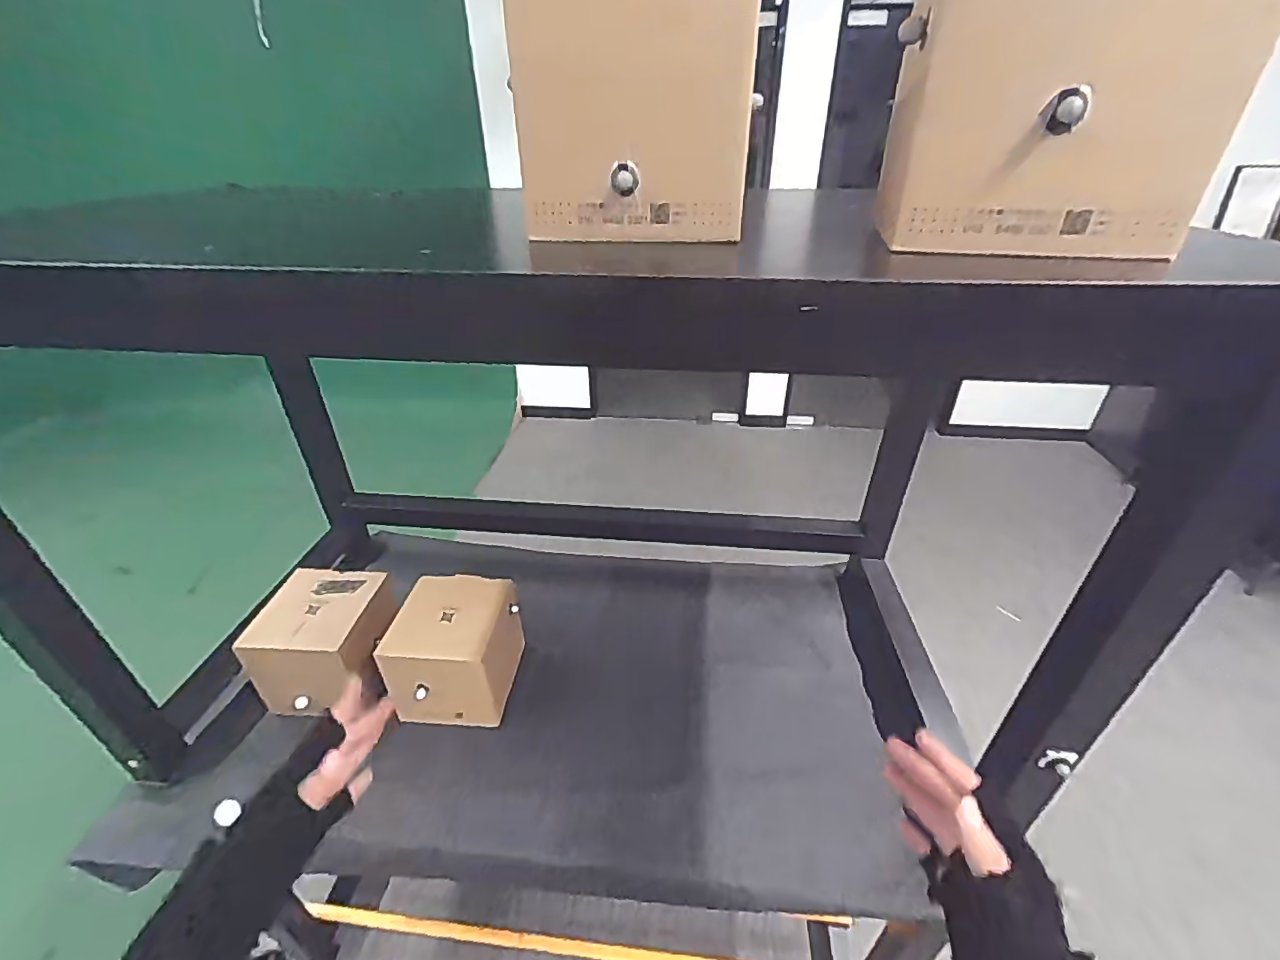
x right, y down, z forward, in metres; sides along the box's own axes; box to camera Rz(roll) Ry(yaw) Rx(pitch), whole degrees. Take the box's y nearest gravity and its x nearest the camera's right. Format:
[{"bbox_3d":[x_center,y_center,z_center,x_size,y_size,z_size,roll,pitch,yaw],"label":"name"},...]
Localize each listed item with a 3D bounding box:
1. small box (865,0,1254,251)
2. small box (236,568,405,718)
[{"bbox_3d":[0.262,-0.263,0.377,0.168,0.176,0.179,8,33,14],"label":"small box"},{"bbox_3d":[-0.522,0.272,0.917,0.168,0.176,0.179,1,32,3],"label":"small box"}]
